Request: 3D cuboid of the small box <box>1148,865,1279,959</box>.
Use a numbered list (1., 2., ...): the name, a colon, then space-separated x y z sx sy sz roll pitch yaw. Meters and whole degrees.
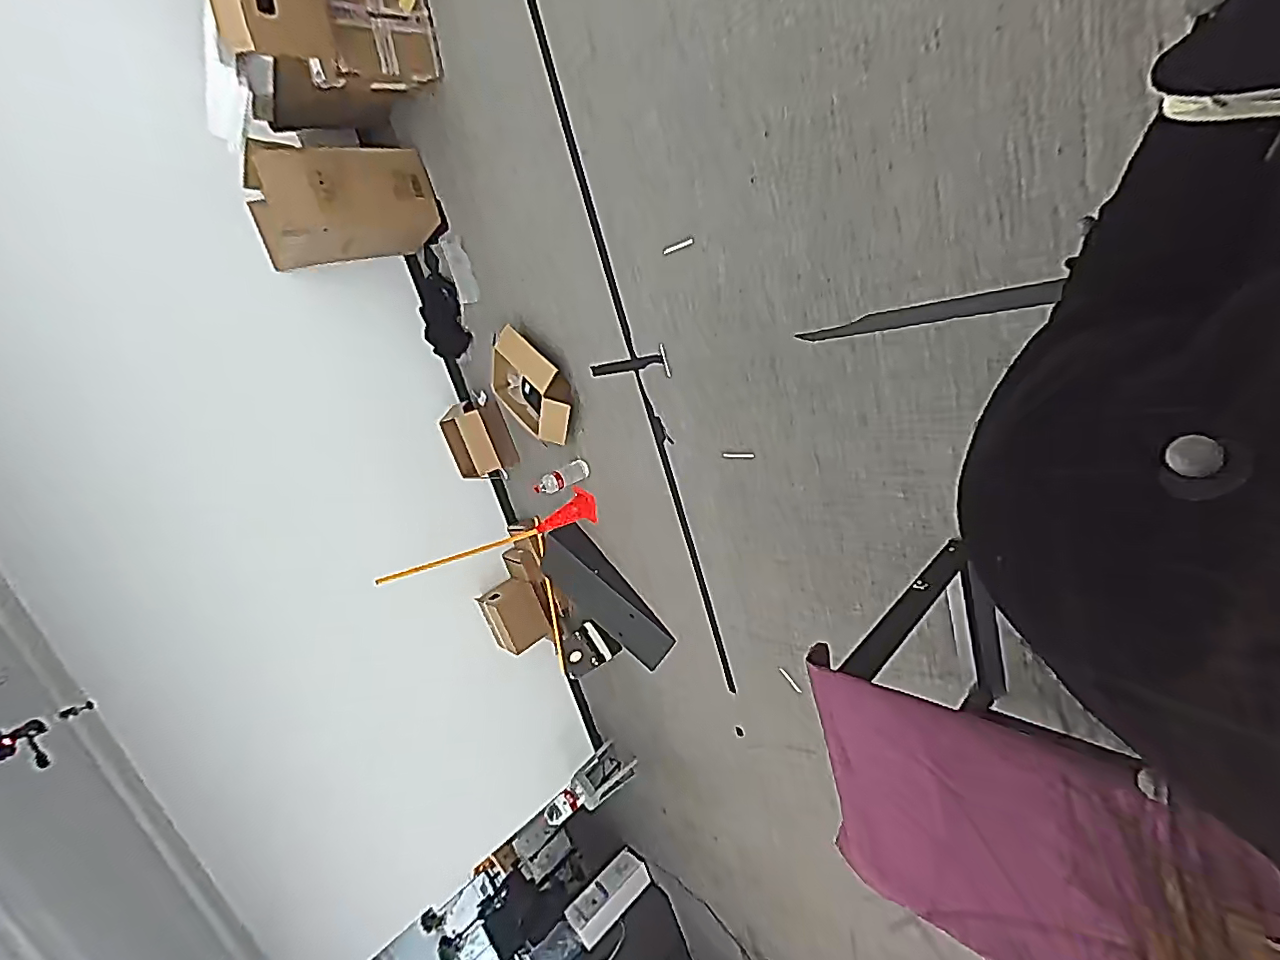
1. small box: 0.770 0.659 0.692 0.168 0.176 0.179 7 118 48
